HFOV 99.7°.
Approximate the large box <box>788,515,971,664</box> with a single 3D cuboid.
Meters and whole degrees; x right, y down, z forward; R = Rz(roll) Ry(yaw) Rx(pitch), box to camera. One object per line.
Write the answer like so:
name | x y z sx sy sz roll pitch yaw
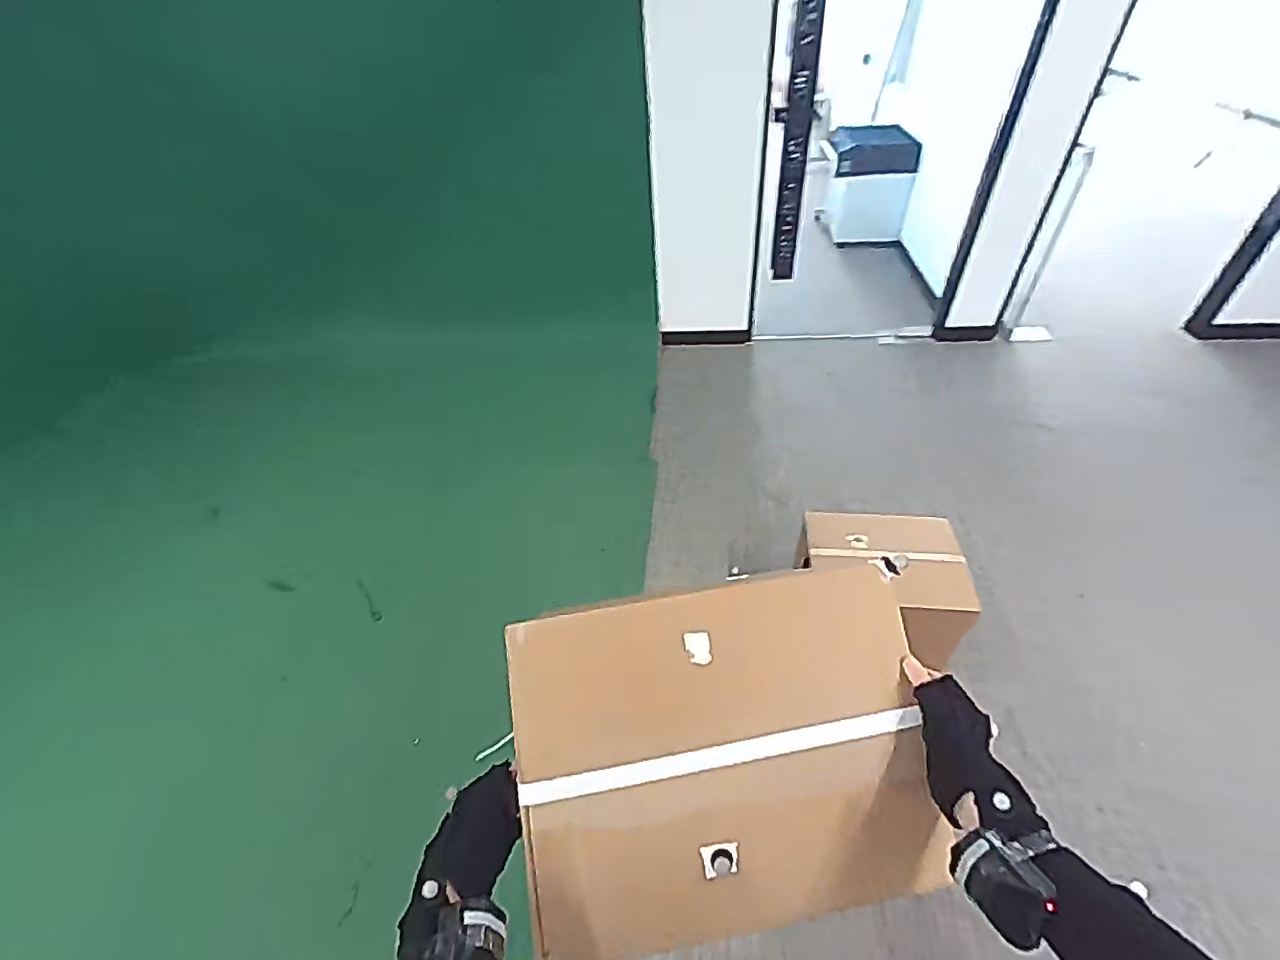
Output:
large box | 0.664 0.319 1.585 0.408 0.320 0.320 2 44 8
